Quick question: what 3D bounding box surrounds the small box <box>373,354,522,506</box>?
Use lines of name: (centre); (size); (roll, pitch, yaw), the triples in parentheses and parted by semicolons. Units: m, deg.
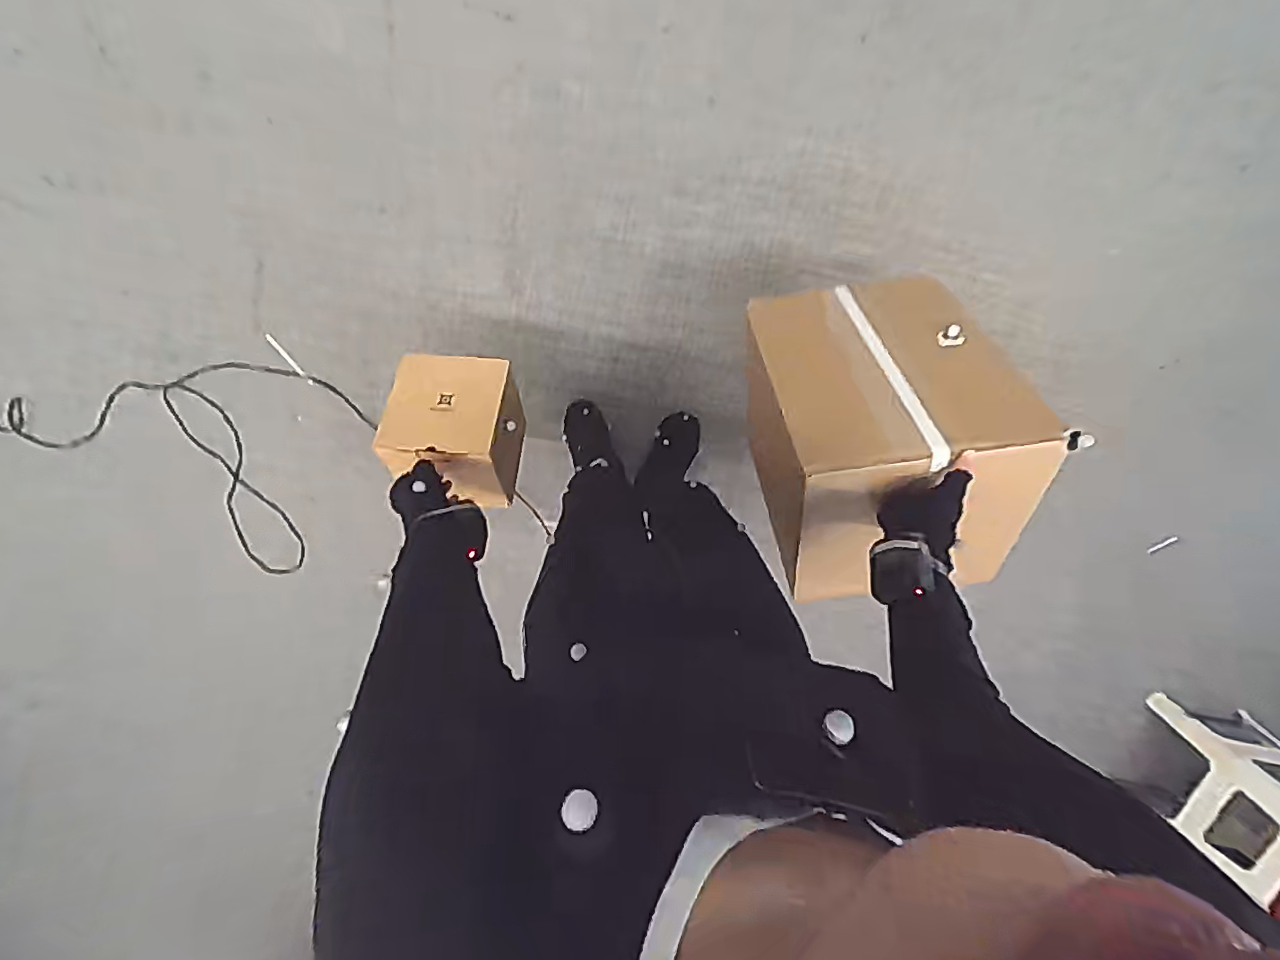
small box: (-0.290, -0.075, 0.861); (0.168, 0.176, 0.179); (3, 63, 1)
